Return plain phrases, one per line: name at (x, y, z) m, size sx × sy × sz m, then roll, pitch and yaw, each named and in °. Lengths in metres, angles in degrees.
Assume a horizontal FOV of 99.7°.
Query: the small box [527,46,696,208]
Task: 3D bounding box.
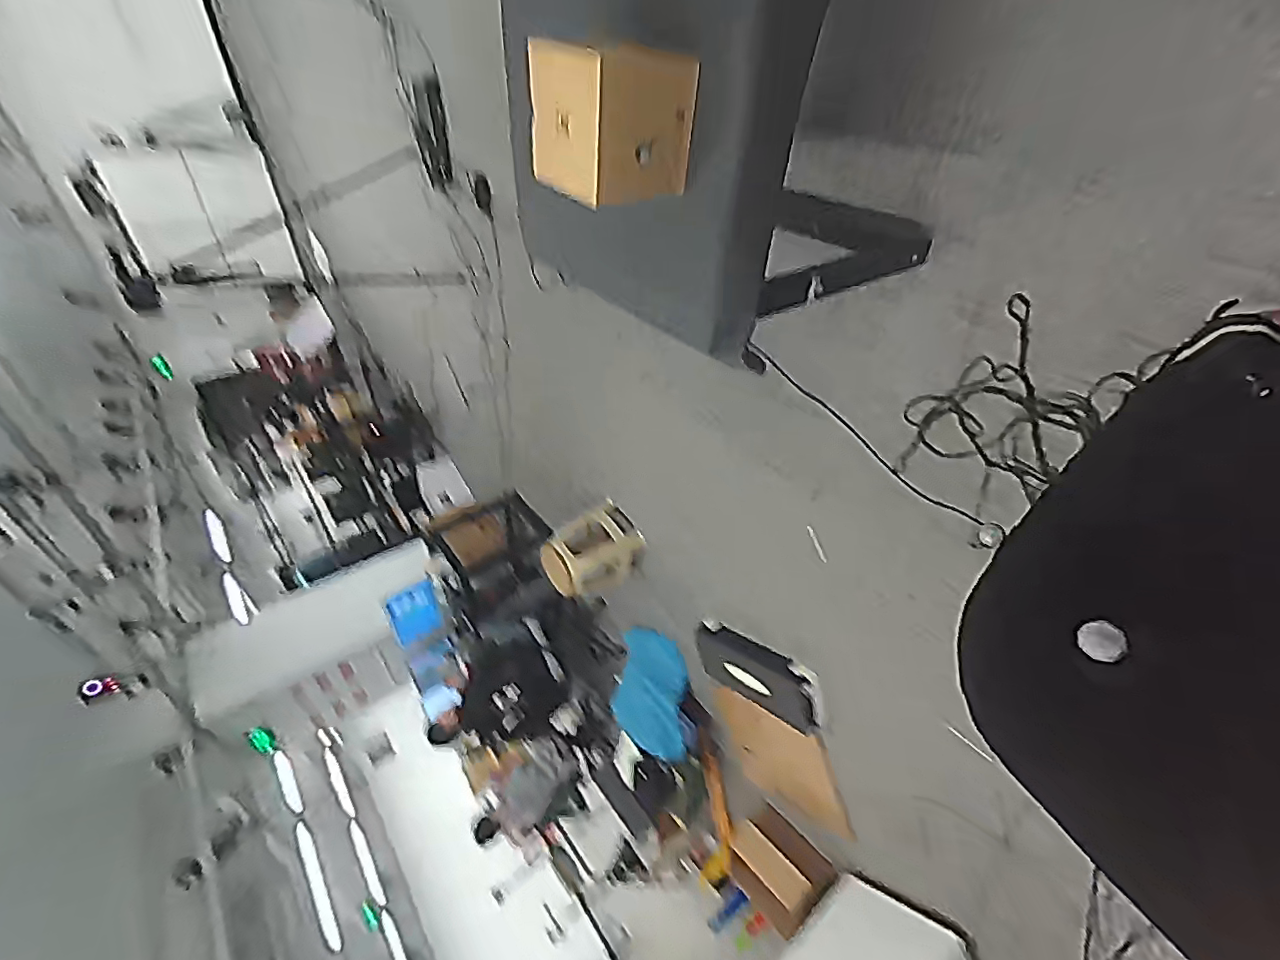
small box at (-0.041, -0.511, 0.776) m, size 0.179 × 0.176 × 0.168 m, roll 43°, pitch 143°, yaw 35°
